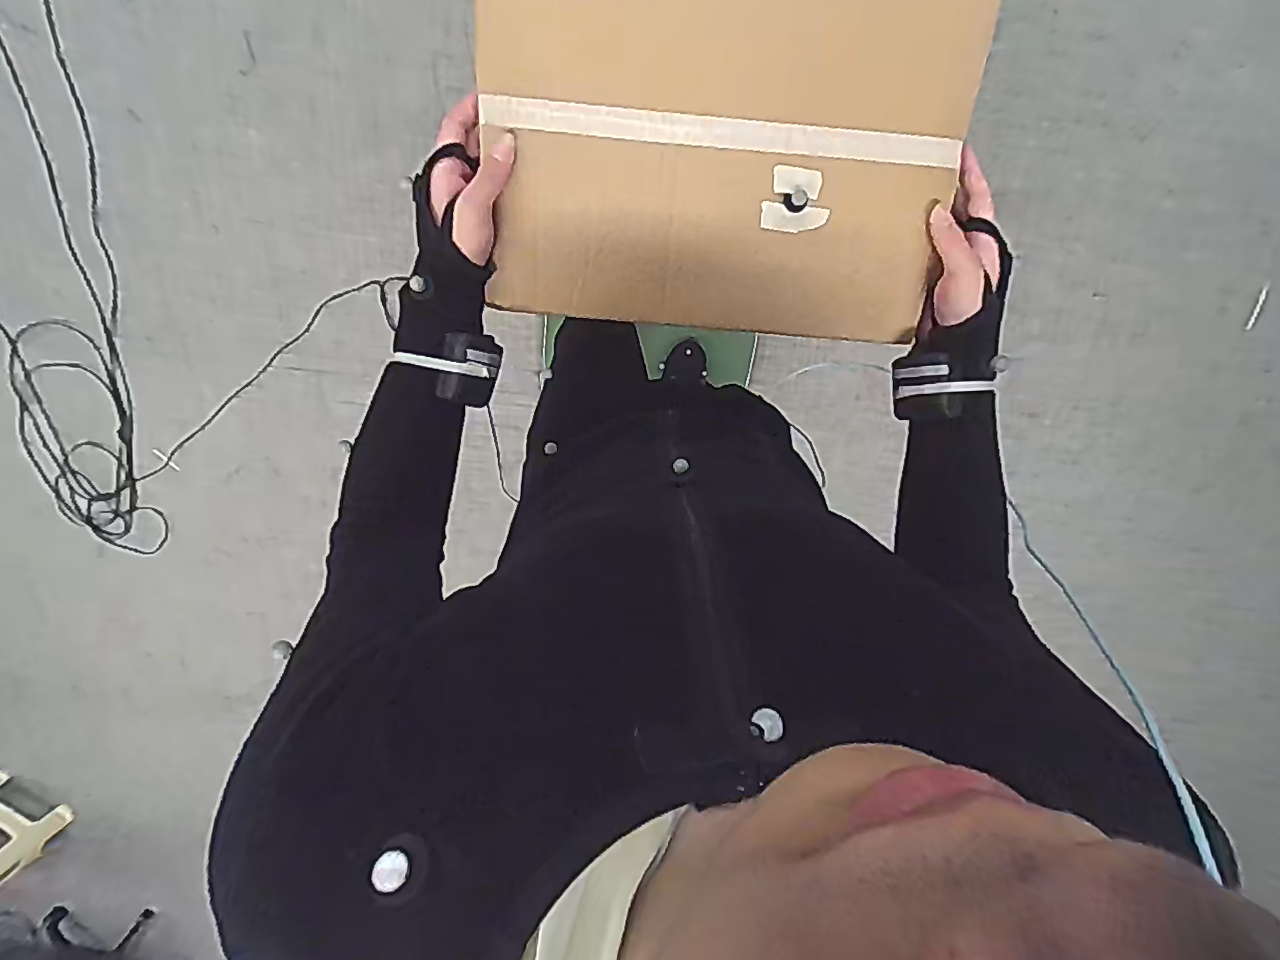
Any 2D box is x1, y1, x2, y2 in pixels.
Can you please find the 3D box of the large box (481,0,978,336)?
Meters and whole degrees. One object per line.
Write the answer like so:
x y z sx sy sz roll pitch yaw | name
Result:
0.062 -0.345 0.604 0.408 0.320 0.320 4 112 -3 | large box
